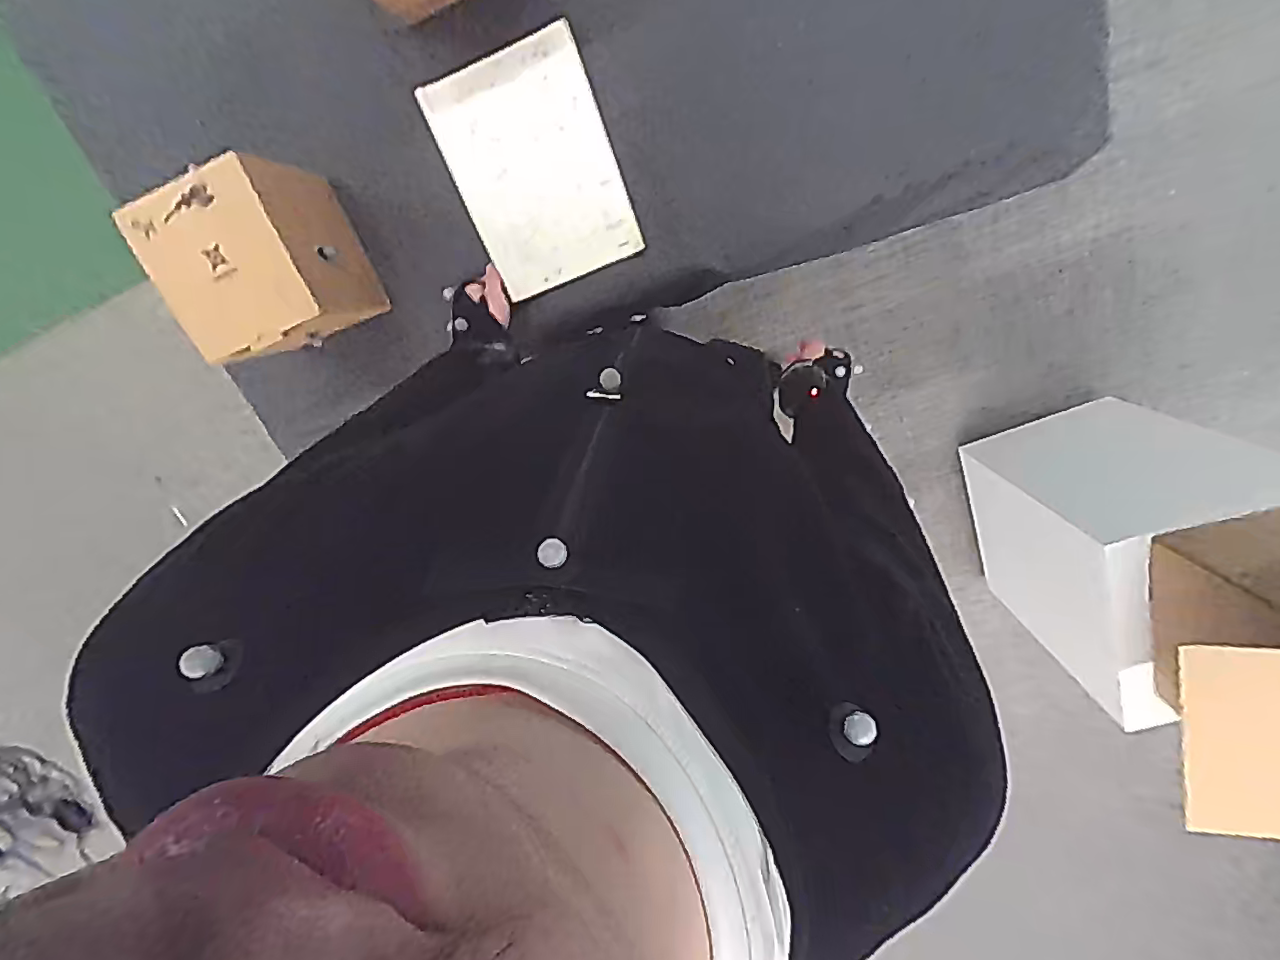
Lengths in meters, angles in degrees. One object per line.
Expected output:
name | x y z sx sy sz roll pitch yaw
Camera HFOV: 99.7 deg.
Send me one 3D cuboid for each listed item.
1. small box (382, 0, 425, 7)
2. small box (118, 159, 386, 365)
small box | -0.236 -0.597 0.508 0.168 0.176 0.179 -19 111 9
small box | -0.456 -0.266 0.672 0.168 0.176 0.179 -18 110 9
